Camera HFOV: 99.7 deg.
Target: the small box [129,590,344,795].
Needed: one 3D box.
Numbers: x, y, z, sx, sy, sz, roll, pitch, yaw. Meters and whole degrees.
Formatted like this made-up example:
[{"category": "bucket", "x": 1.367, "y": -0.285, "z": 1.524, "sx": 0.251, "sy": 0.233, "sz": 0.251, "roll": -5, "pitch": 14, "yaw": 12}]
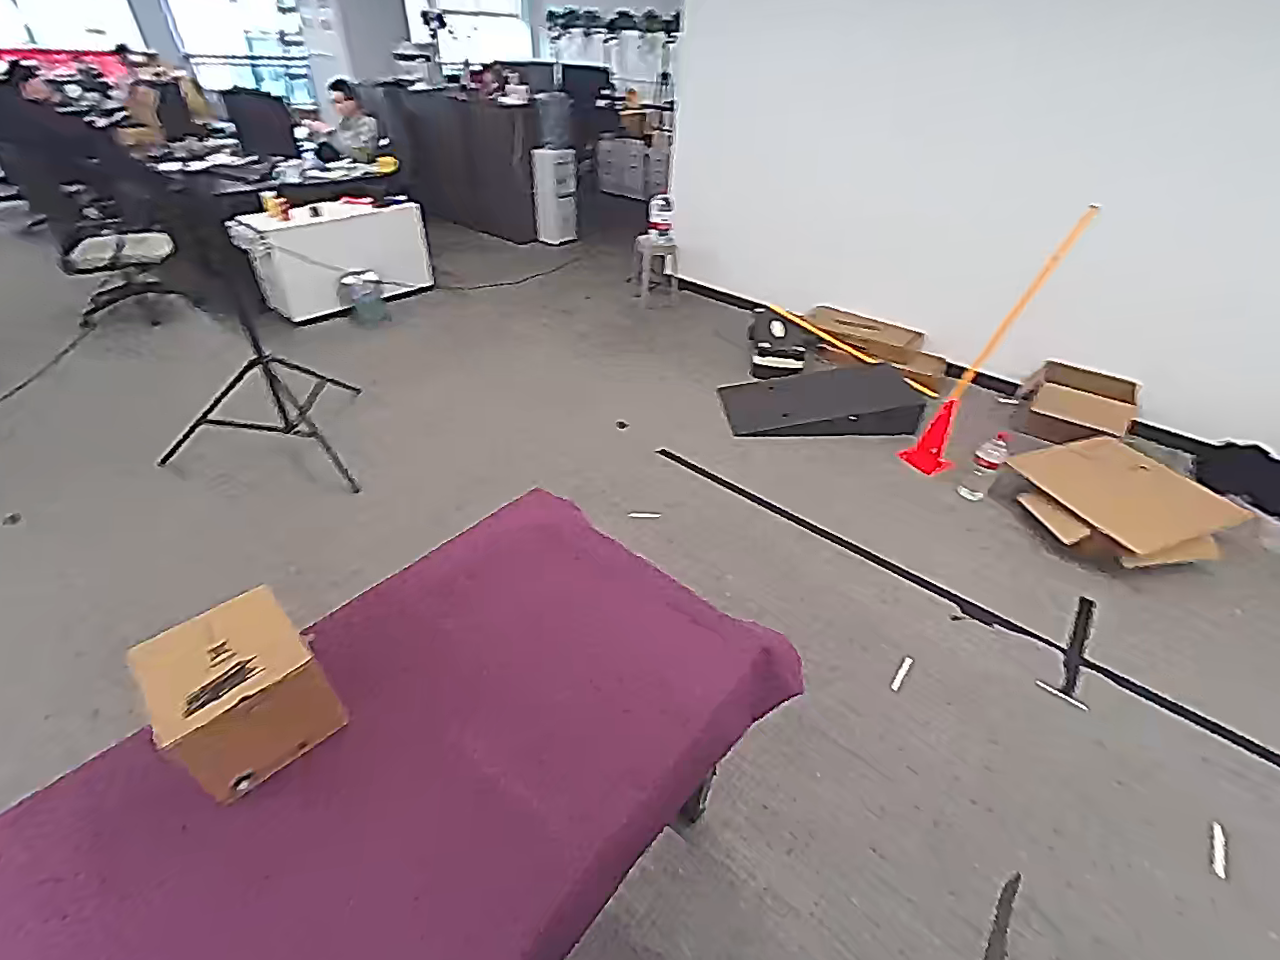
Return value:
[{"category": "small box", "x": -0.541, "y": 0.295, "z": 0.743, "sx": 0.179, "sy": 0.176, "sz": 0.168, "roll": 33, "pitch": 46, "yaw": 31}]
